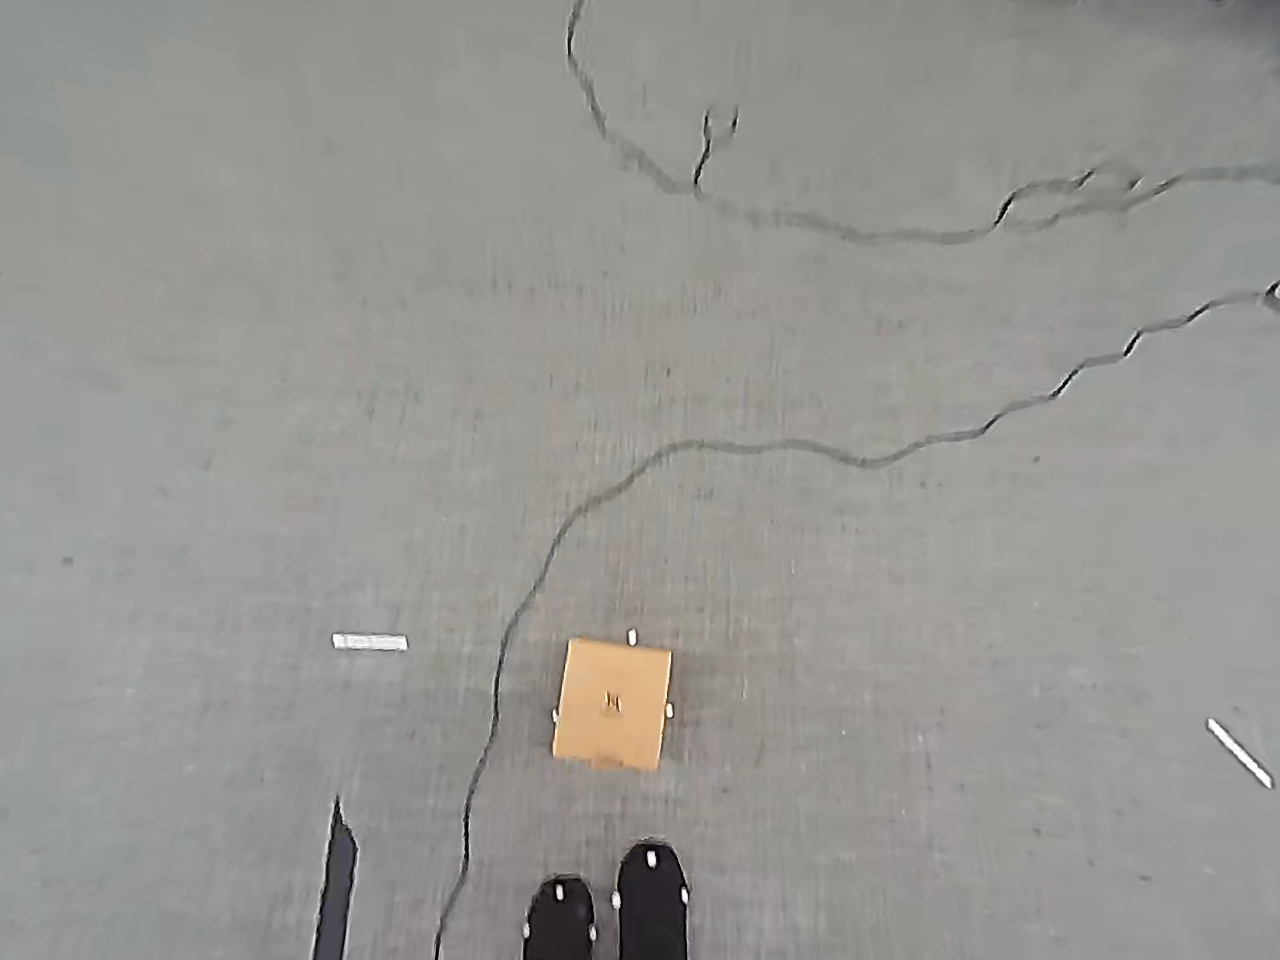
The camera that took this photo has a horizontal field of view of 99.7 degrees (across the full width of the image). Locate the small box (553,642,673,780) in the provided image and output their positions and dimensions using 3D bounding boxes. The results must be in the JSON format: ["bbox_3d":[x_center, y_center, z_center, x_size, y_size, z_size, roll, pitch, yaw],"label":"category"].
[{"bbox_3d":[-0.041,0.379,0.917,0.168,0.176,0.179,8,76,1],"label":"small box"}]
